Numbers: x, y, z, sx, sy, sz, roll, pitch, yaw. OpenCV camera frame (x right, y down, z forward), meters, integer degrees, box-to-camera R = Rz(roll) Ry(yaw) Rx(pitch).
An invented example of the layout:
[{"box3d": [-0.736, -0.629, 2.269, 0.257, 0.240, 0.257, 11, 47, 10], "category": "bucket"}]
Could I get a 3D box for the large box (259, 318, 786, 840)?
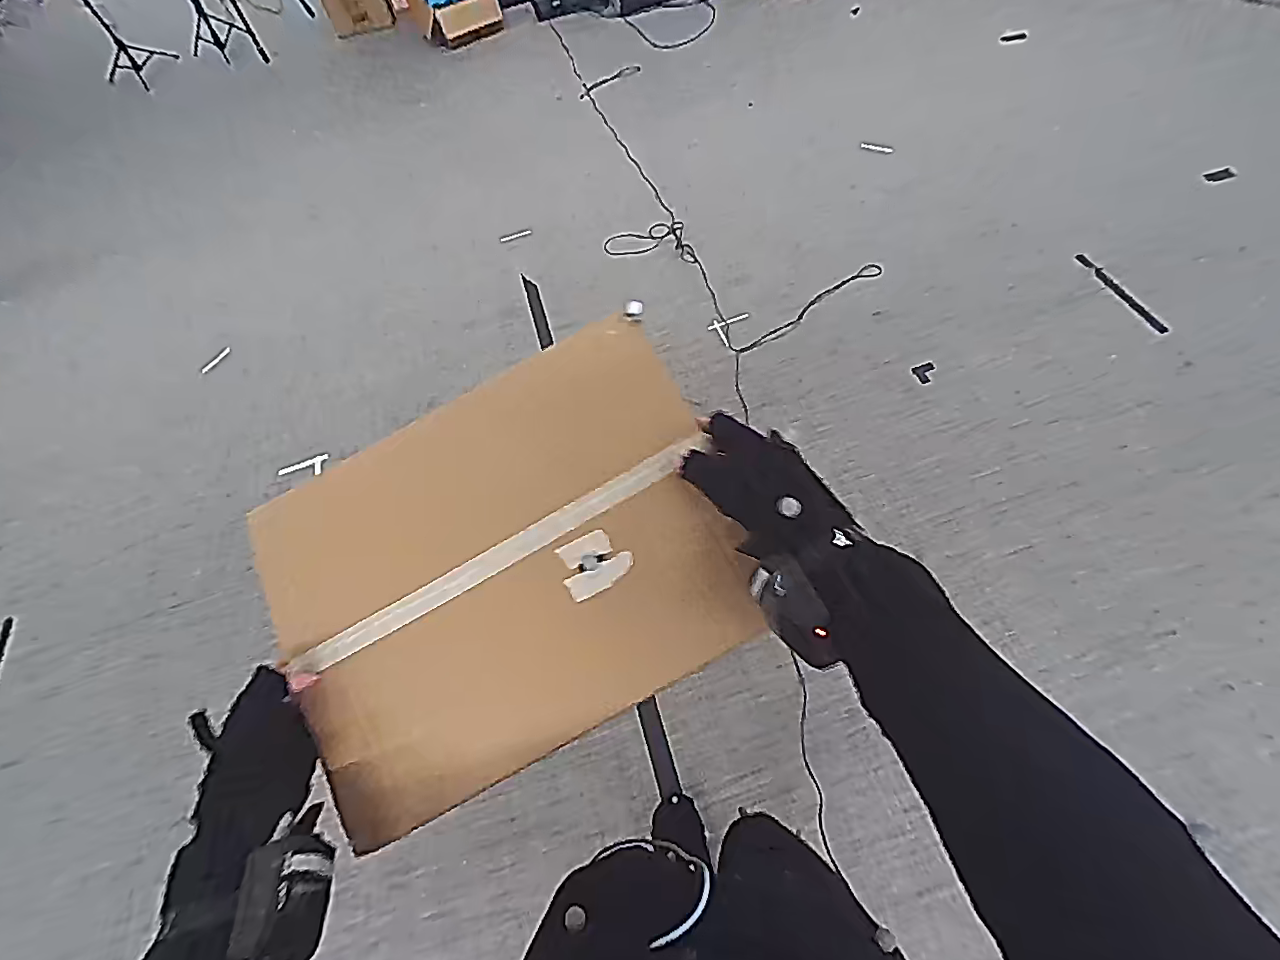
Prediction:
[{"box3d": [-0.106, 0.104, 0.623, 0.408, 0.320, 0.320, -30, 75, -3], "category": "large box"}]
